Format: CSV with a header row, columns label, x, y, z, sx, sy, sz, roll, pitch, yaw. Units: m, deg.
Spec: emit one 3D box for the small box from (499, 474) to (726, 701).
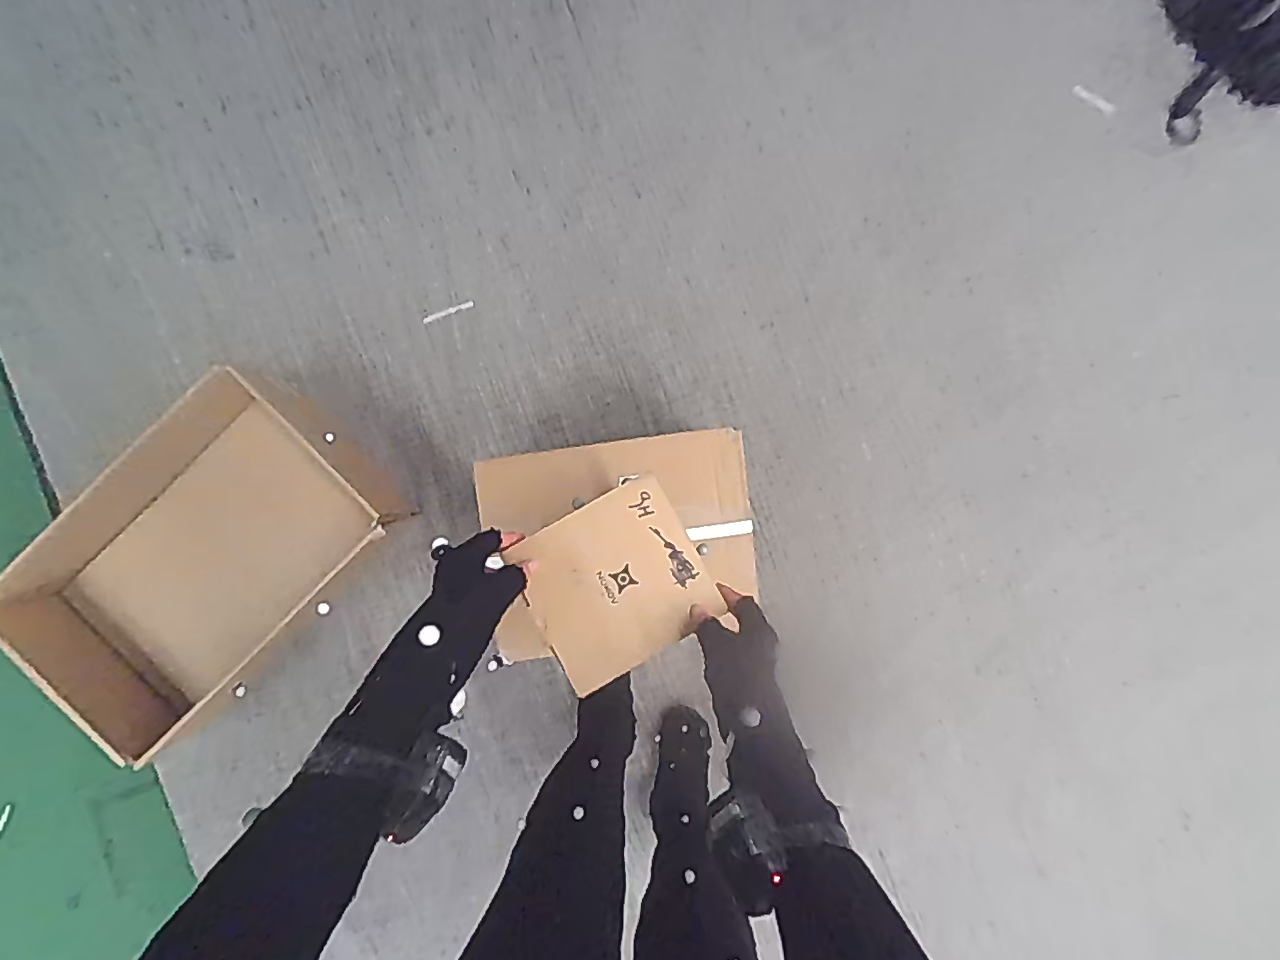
label,x,y,z,sx,sy,sz,roll,pitch,yaw
small box,-0.028,0.110,0.612,0.179,0.176,0.168,-30,89,-3
